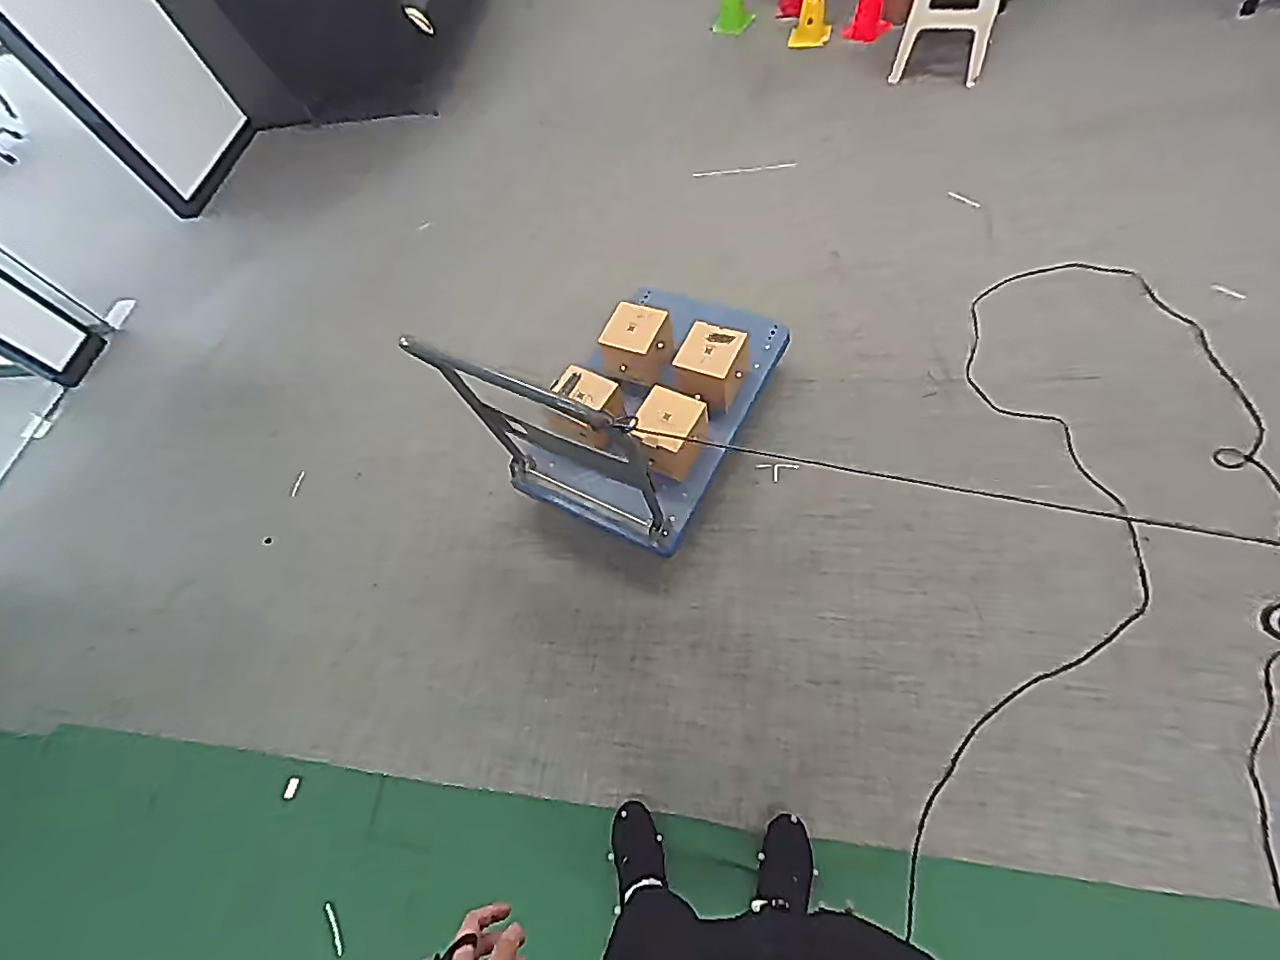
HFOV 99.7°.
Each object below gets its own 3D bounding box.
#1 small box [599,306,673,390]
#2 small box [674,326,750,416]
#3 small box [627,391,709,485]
[{"bbox_3d":[-0.003,-0.412,1.709,0.168,0.176,0.179,20,68,20],"label":"small box"},{"bbox_3d":[0.219,-0.323,1.618,0.168,0.176,0.179,21,69,21],"label":"small box"},{"bbox_3d":[0.087,-0.117,1.536,0.168,0.176,0.179,24,70,22],"label":"small box"}]
